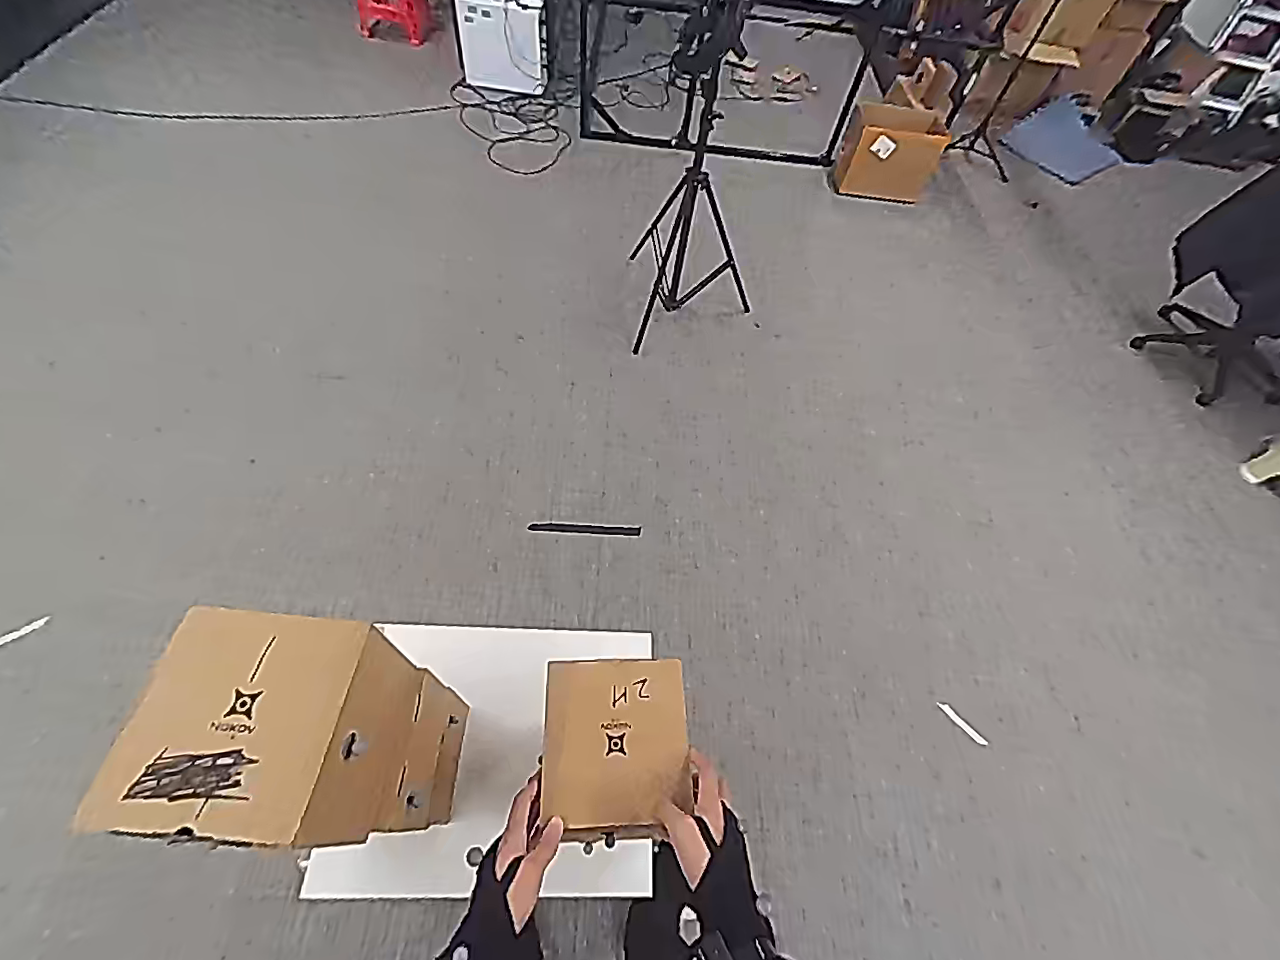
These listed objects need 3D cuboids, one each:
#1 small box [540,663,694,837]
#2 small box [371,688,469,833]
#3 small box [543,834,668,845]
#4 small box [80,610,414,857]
[{"bbox_3d":[-0.030,0.340,0.675,0.168,0.176,0.179,1,55,-5],"label":"small box"},{"bbox_3d":[-0.359,0.412,0.796,0.168,0.176,0.179,4,57,-4],"label":"small box"},{"bbox_3d":[-0.052,0.439,0.810,0.168,0.176,0.179,1,57,-4],"label":"small box"},{"bbox_3d":[-0.336,0.242,0.515,0.168,0.176,0.179,7,57,-2],"label":"small box"}]
